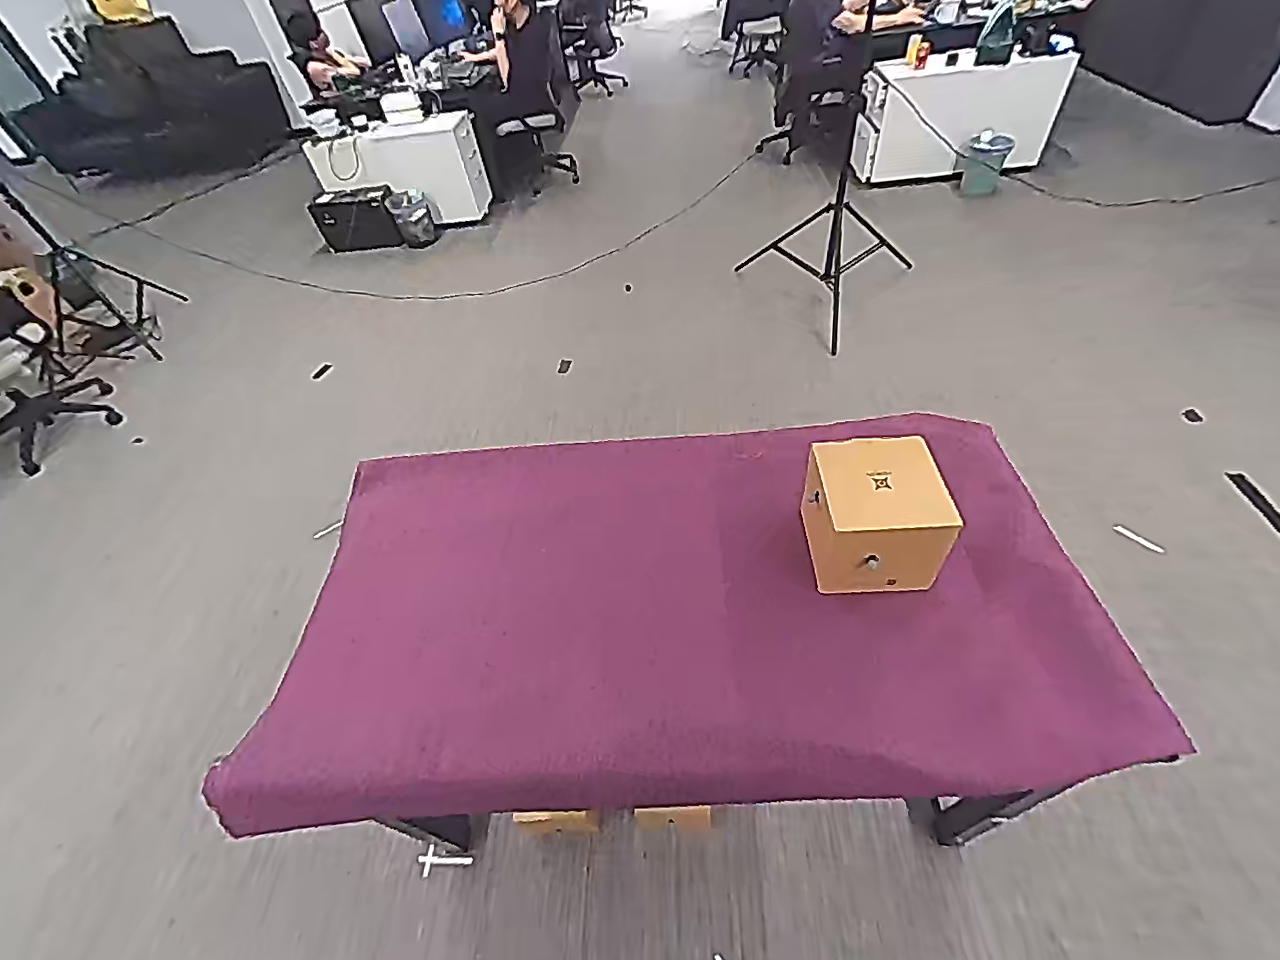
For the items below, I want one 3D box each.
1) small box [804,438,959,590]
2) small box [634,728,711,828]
[{"bbox_3d":[0.355,0.059,0.835,0.168,0.176,0.179,-4,46,6],"label":"small box"},{"bbox_3d":[0.081,0.705,1.275,0.168,0.176,0.179,-2,47,6],"label":"small box"}]
